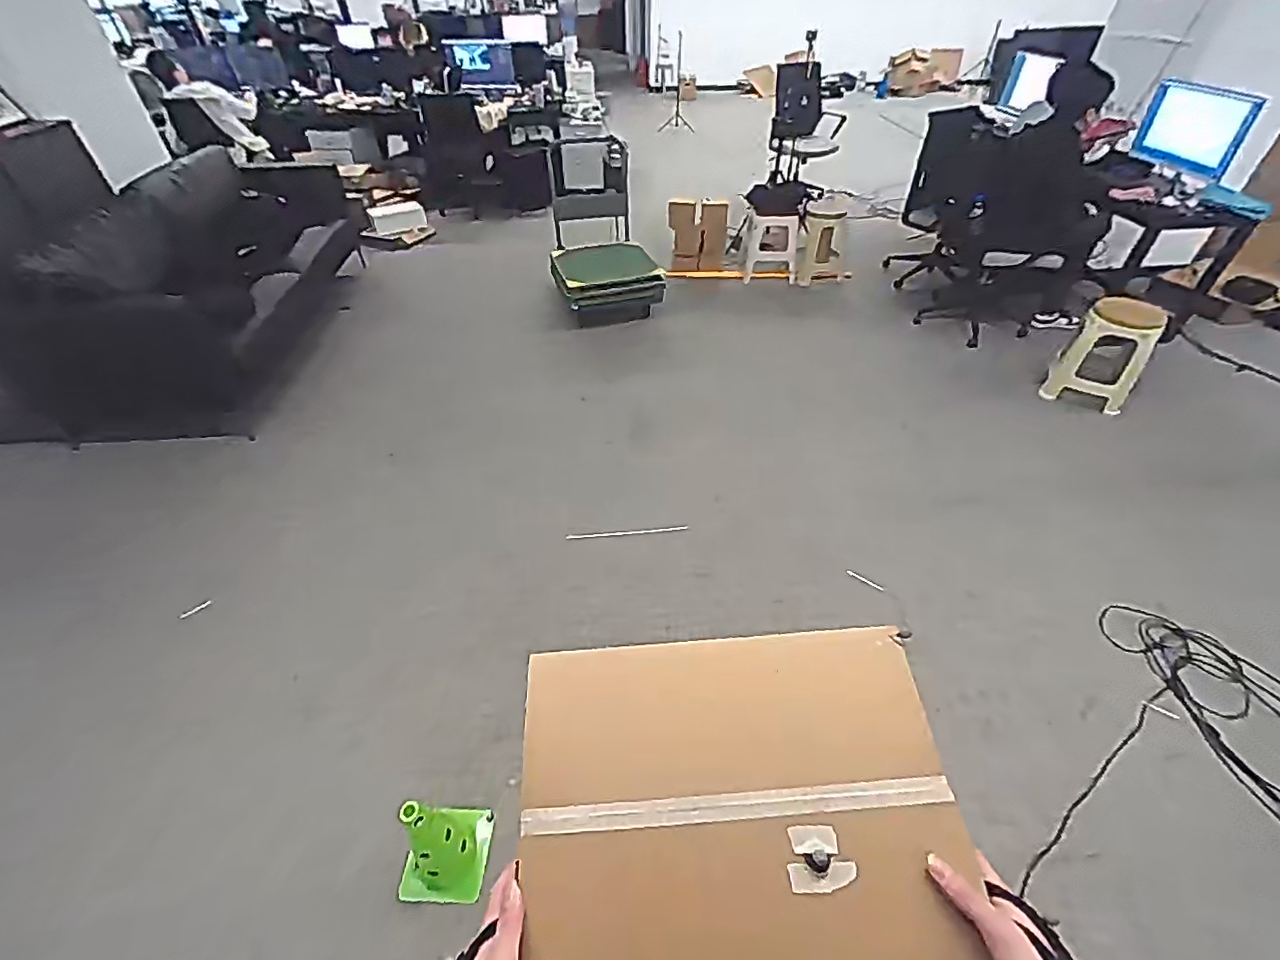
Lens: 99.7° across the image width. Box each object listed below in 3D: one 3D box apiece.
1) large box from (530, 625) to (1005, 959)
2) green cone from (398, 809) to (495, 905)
[{"bbox_3d":[0.100,0.390,0.642,0.408,0.320,0.320,-5,57,0],"label":"large box"},{"bbox_3d":[-0.487,0.832,1.255,0.200,0.368,0.202,0,45,1],"label":"green cone"}]
